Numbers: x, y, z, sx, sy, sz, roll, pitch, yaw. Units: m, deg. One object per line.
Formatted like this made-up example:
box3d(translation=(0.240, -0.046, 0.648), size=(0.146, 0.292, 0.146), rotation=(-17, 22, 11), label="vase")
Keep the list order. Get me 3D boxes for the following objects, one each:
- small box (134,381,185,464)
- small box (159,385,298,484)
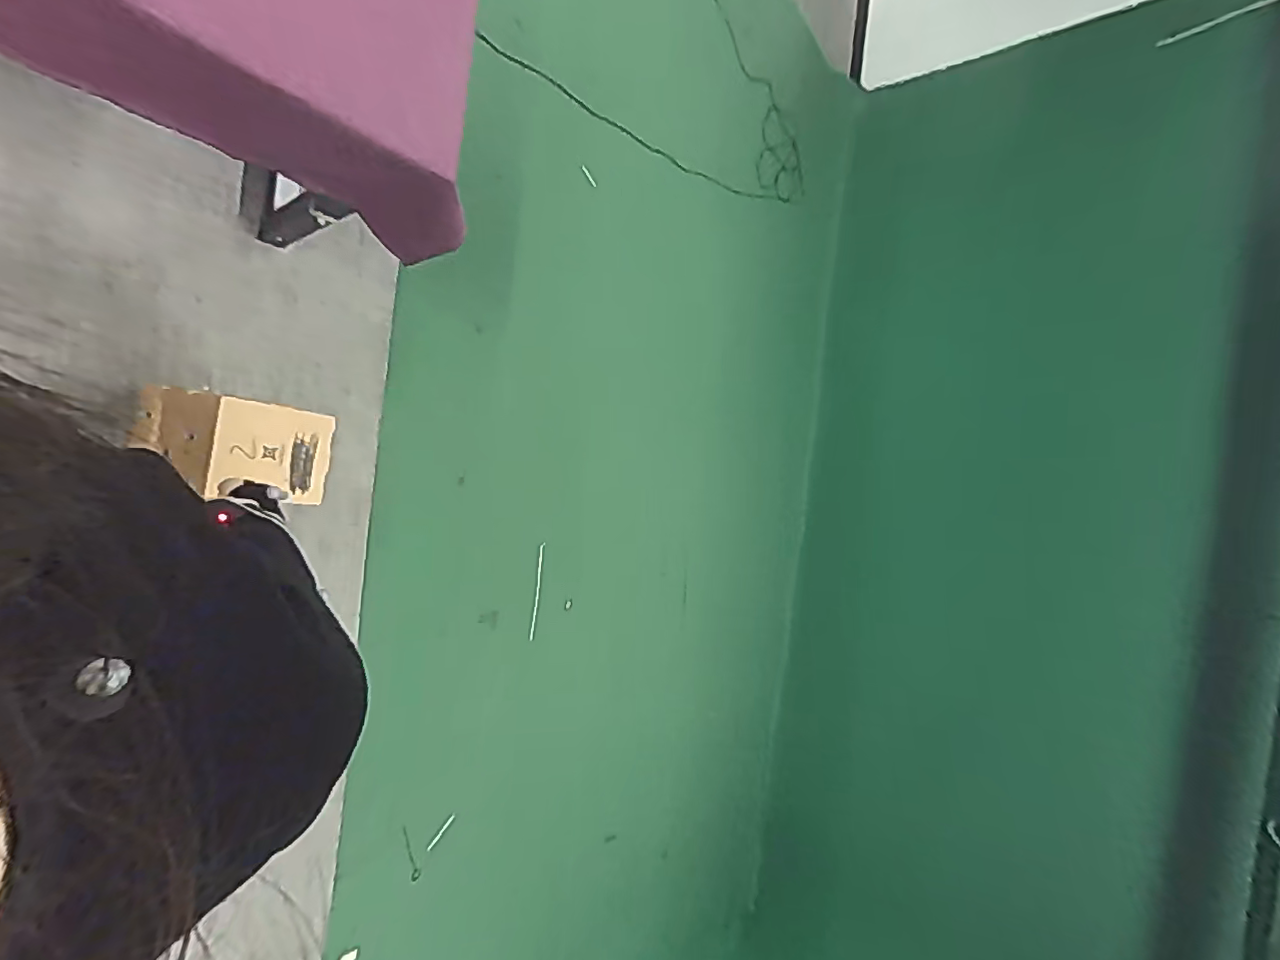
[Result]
box3d(translation=(-0.946, -0.107, 1.161), size=(0.179, 0.176, 0.168), rotation=(12, 87, -52), label="small box")
box3d(translation=(-0.815, -0.088, 1.067), size=(0.179, 0.176, 0.168), rotation=(7, 91, -53), label="small box")
